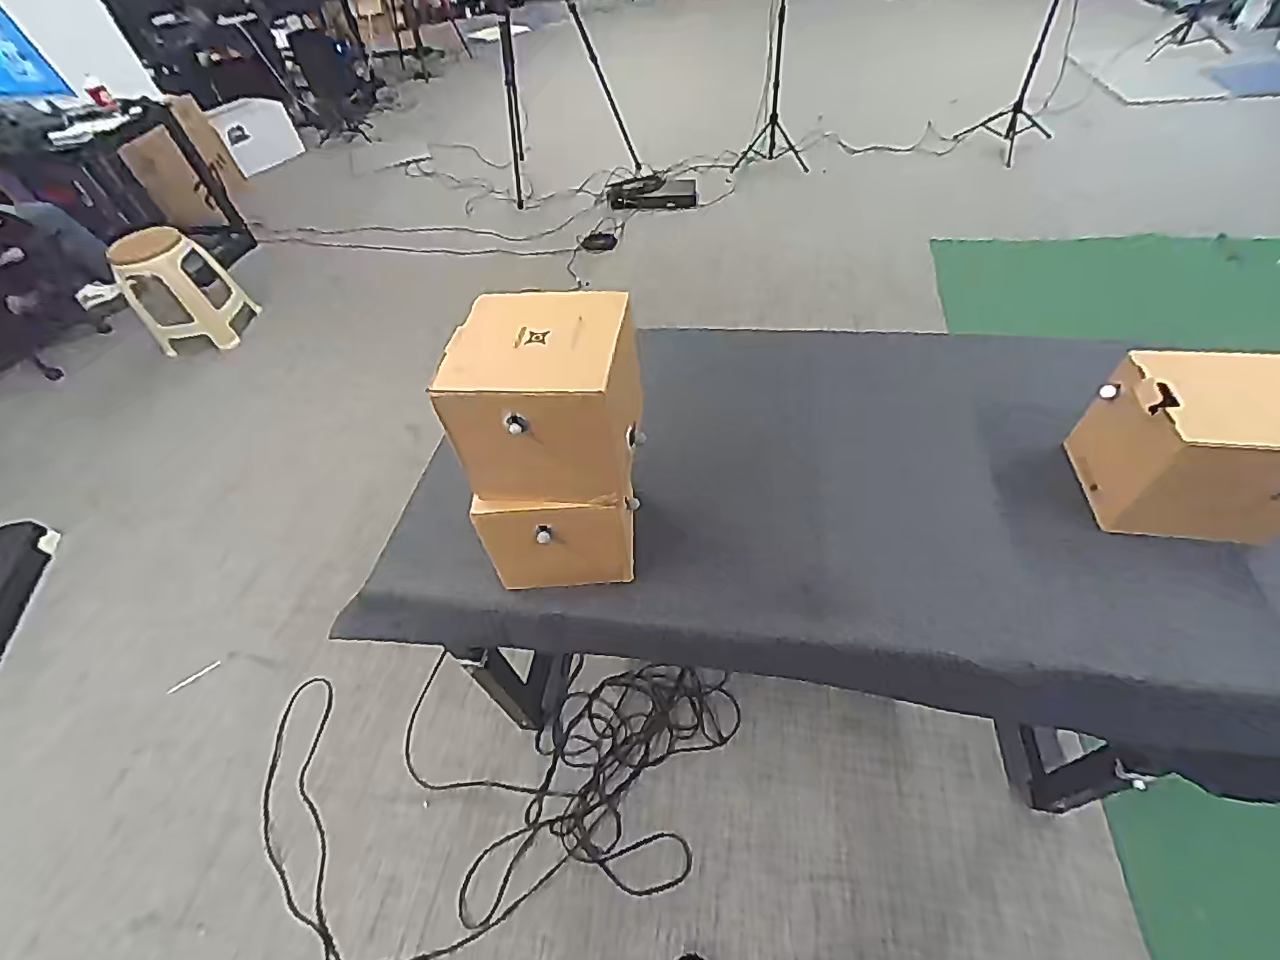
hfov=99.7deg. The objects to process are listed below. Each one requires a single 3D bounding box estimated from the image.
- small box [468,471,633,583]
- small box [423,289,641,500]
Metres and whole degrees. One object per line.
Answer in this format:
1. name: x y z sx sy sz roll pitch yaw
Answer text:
1. small box: -0.102 0.023 0.716 0.179 0.176 0.168 -4 49 4
2. small box: -0.100 -0.092 0.600 0.179 0.176 0.168 3 51 8
